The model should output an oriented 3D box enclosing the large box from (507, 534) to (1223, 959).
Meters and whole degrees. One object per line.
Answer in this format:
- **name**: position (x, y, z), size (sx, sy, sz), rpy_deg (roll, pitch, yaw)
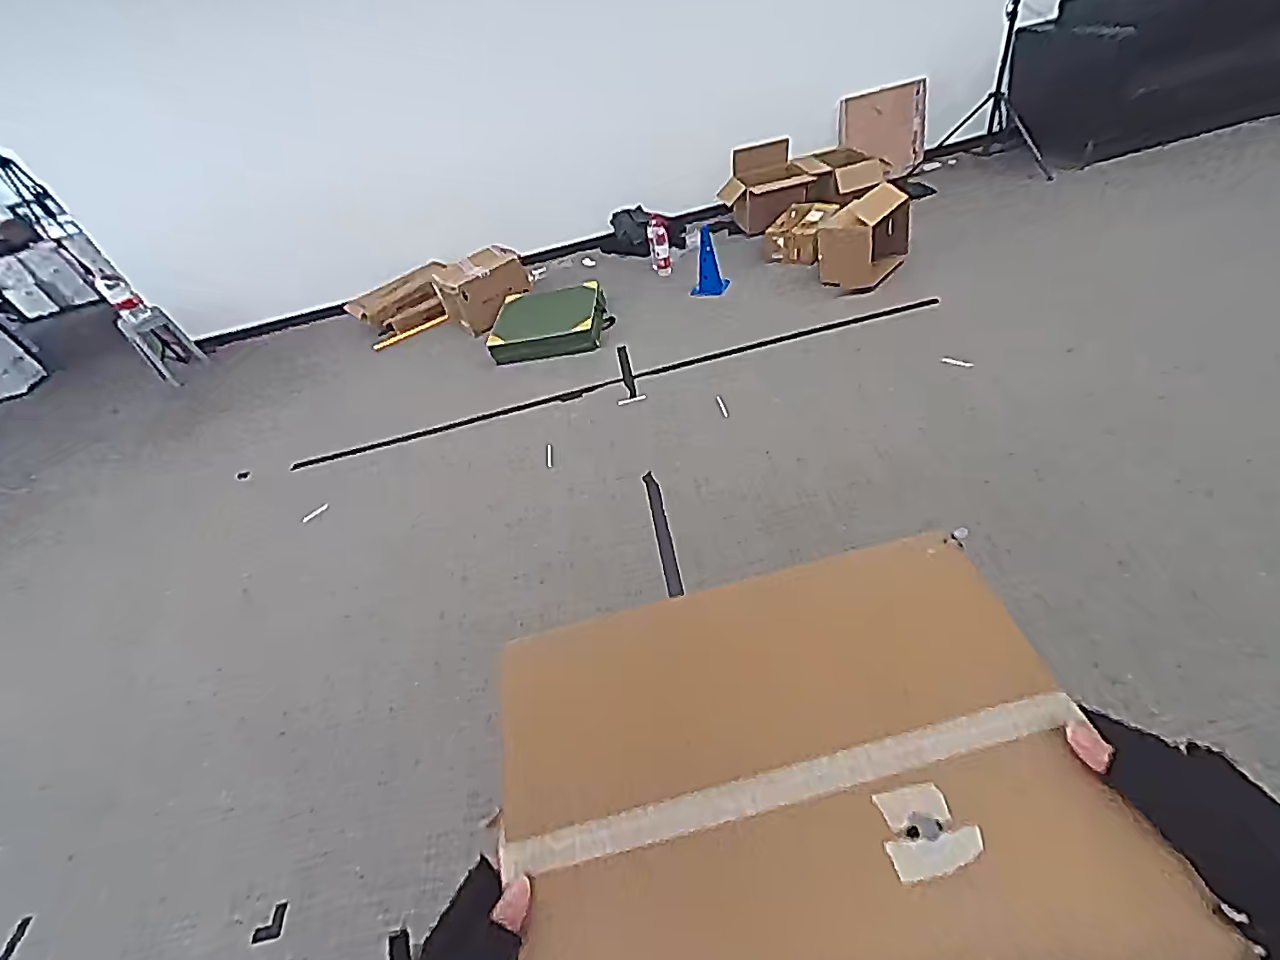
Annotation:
- **large box**: position (0.125, 0.305, 0.503), size (0.408, 0.320, 0.320), rpy_deg (-14, 51, -2)
